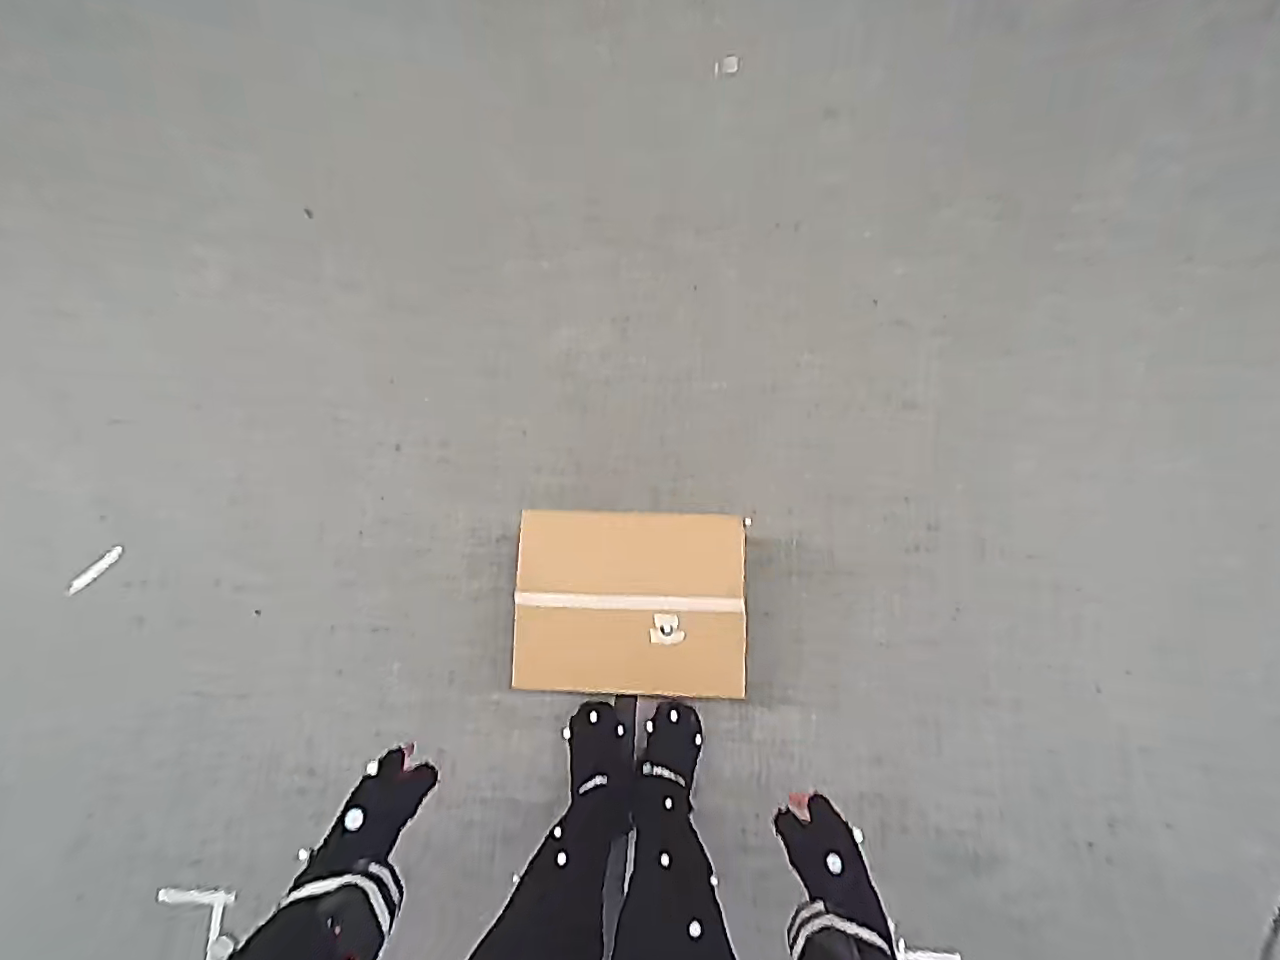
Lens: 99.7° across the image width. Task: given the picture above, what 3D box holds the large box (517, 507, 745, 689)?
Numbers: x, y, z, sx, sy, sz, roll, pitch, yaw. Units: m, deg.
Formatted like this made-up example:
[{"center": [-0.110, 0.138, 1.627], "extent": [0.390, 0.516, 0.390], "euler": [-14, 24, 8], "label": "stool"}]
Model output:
[{"center": [-0.012, 0.229, 1.101], "extent": [0.408, 0.320, 0.320], "euler": [2, 82, 2], "label": "large box"}]
